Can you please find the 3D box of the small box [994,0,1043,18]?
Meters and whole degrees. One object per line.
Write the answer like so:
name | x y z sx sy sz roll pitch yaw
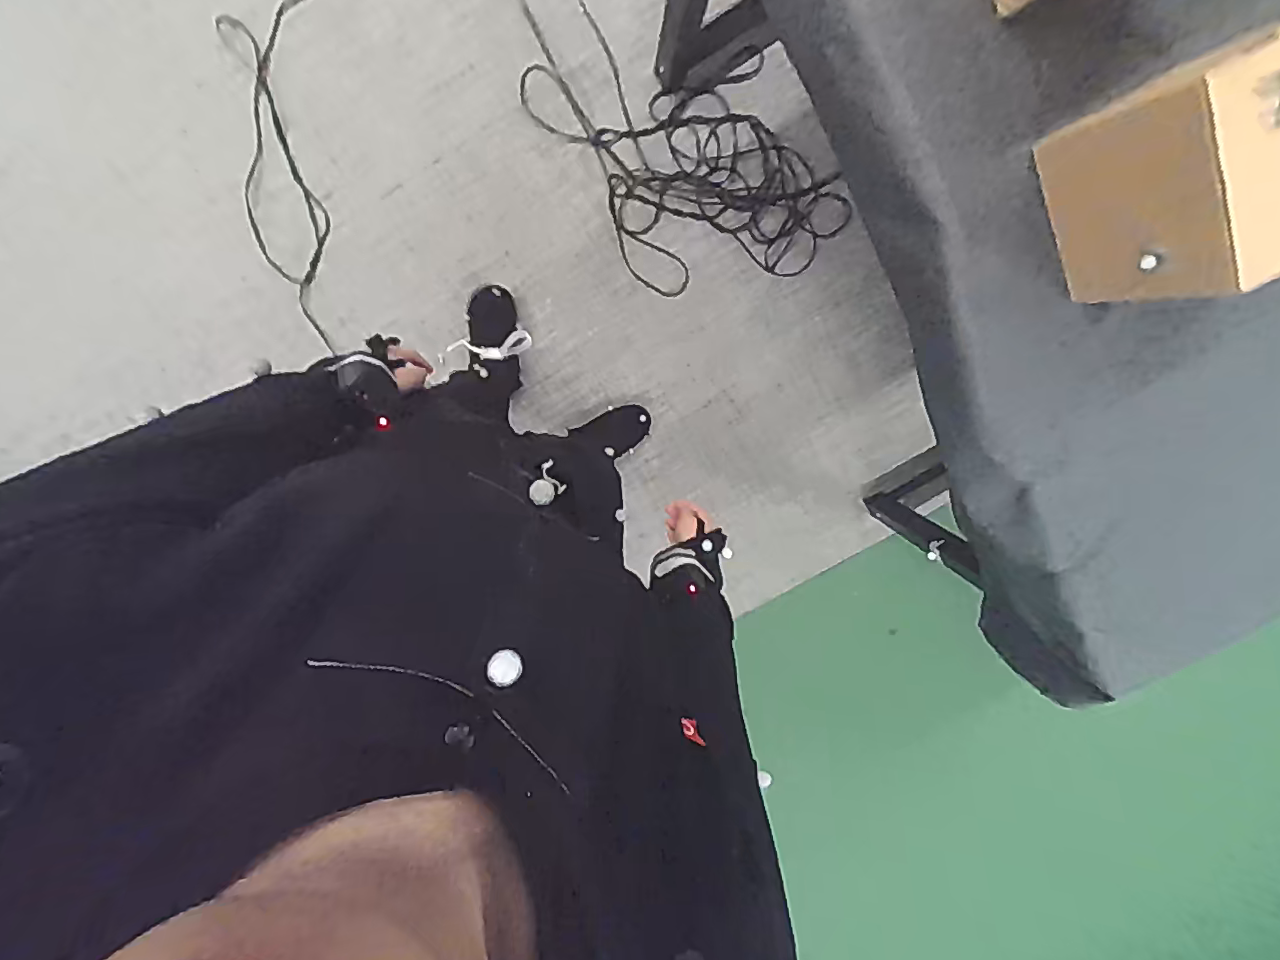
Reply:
small box | 0.379 -0.529 0.419 0.168 0.176 0.179 -30 106 5
